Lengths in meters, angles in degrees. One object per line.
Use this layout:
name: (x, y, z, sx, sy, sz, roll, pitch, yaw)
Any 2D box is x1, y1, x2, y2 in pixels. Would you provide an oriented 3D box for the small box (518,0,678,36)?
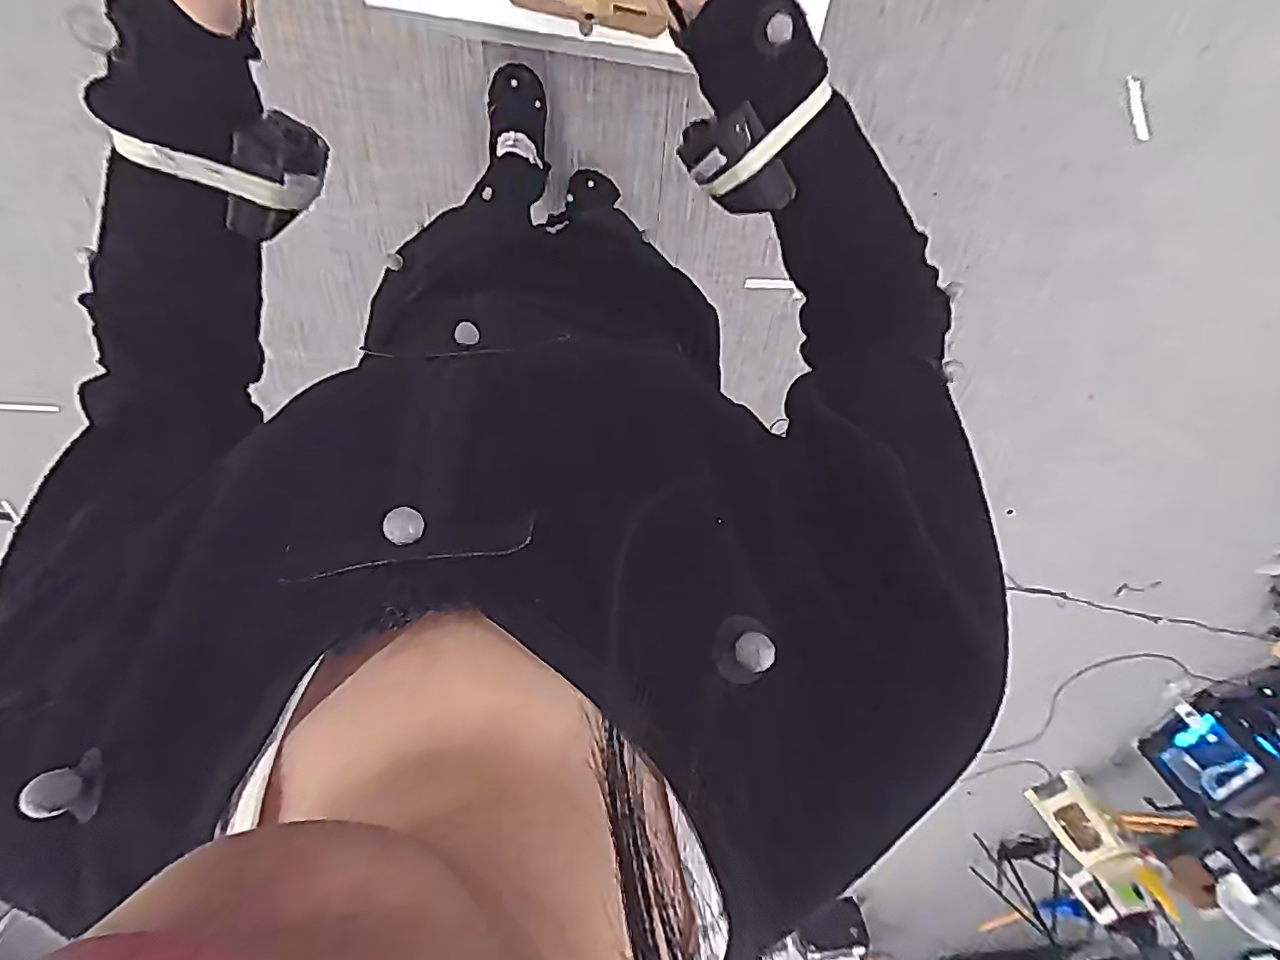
small box: (-0.039, -0.536, 0.497, 0.168, 0.176, 0.179, 5, 126, -10)
